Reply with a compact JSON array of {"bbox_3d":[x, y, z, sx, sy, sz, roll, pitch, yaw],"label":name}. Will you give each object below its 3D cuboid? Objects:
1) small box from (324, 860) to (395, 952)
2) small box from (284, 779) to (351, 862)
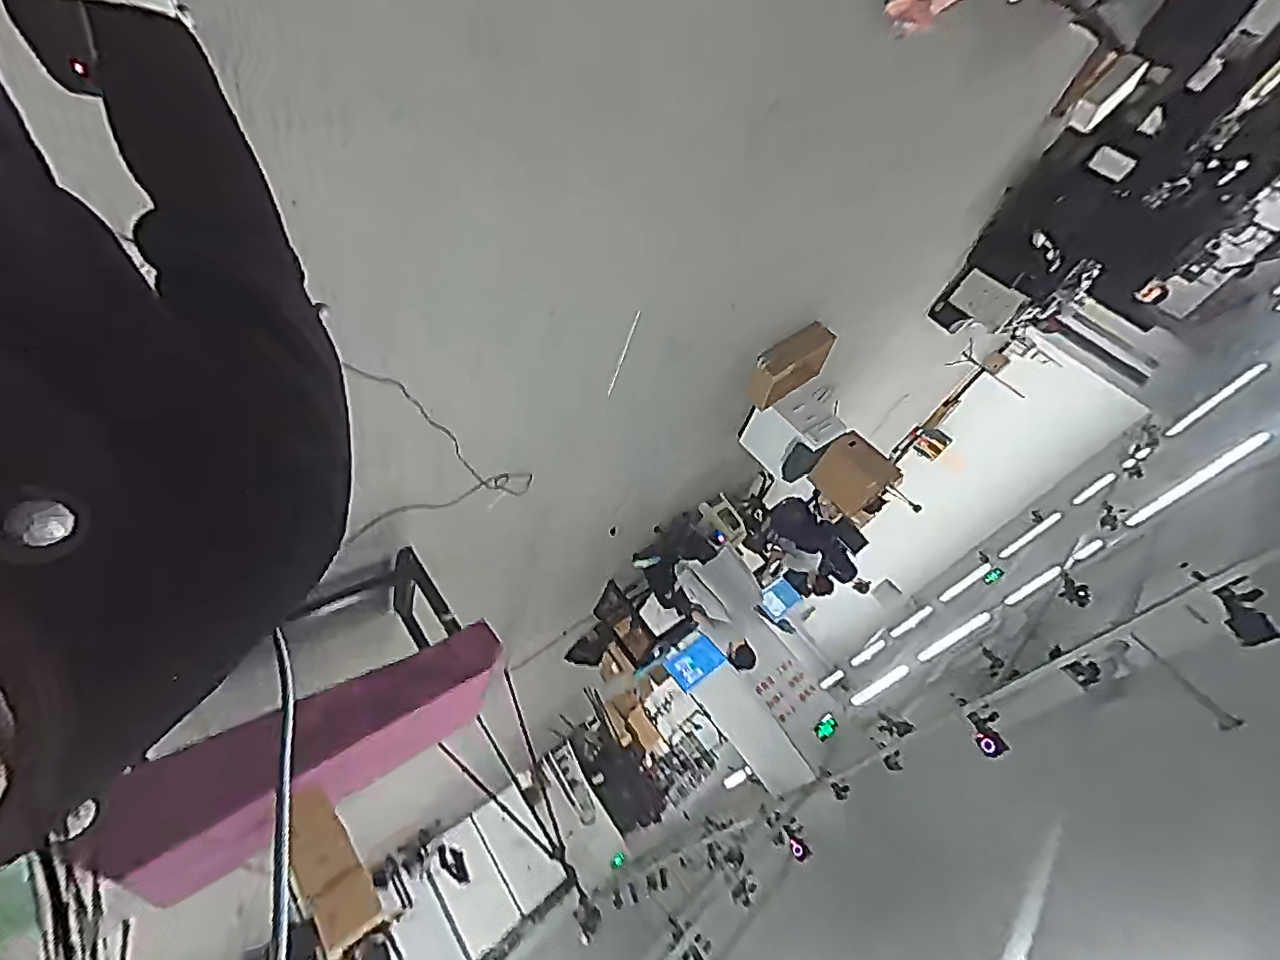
[{"bbox_3d":[-0.965,1.457,1.852,0.179,0.176,0.168,-21,151,-41],"label":"small box"},{"bbox_3d":[-1.181,1.242,1.977,0.179,0.176,0.168,-21,150,-41],"label":"small box"}]
